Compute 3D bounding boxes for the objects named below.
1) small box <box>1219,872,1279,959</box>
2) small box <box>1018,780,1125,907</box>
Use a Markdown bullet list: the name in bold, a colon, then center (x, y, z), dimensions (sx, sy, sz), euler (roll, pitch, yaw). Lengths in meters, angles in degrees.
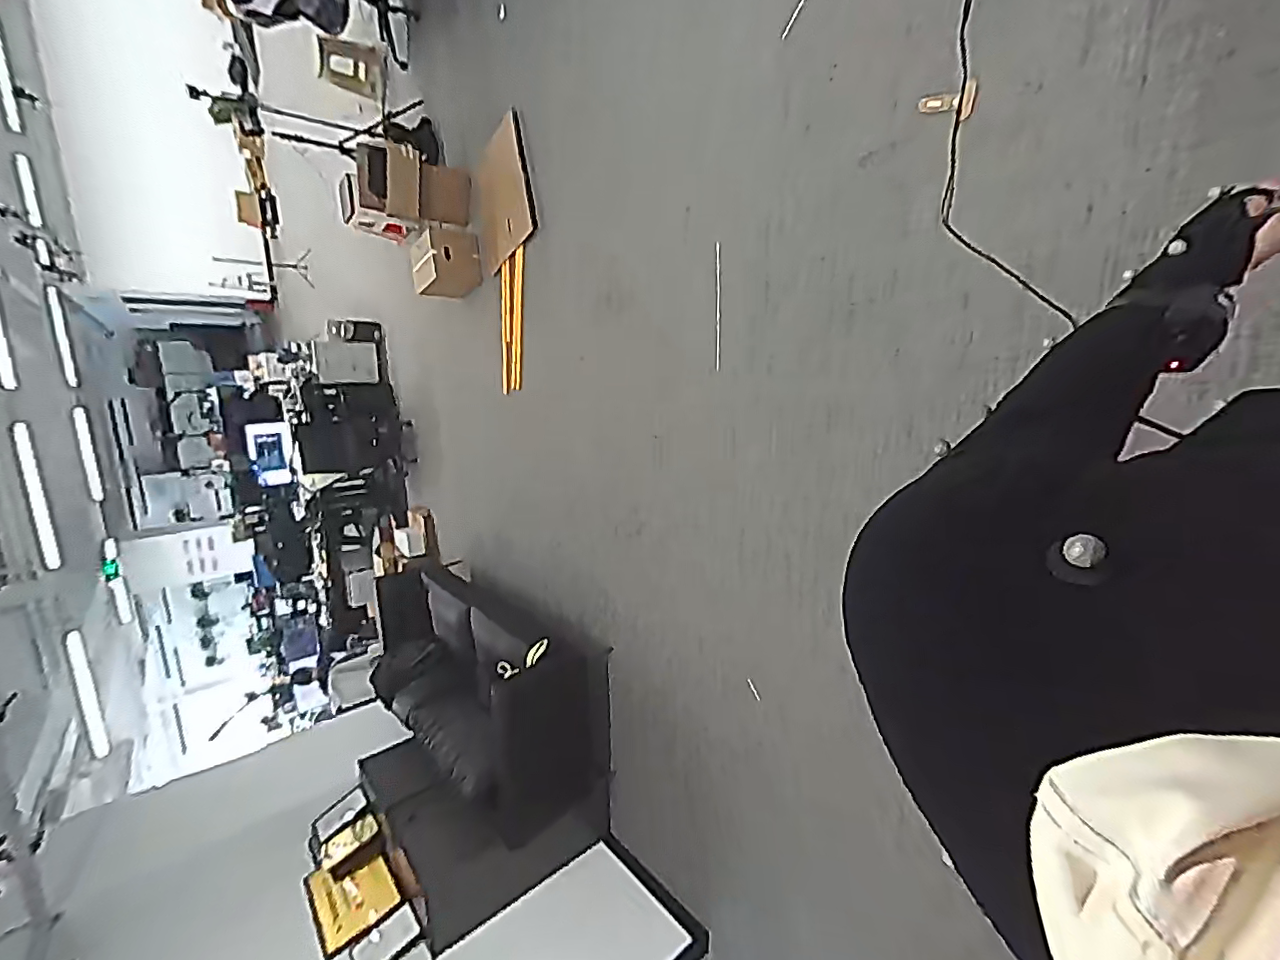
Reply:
- **small box**: center (1.324, 0.949, 1.098), dimensions (0.179, 0.176, 0.168), euler (13, 109, 48)
- **small box**: center (1.092, 0.904, 1.366), dimensions (0.179, 0.176, 0.168), euler (12, 107, 49)
